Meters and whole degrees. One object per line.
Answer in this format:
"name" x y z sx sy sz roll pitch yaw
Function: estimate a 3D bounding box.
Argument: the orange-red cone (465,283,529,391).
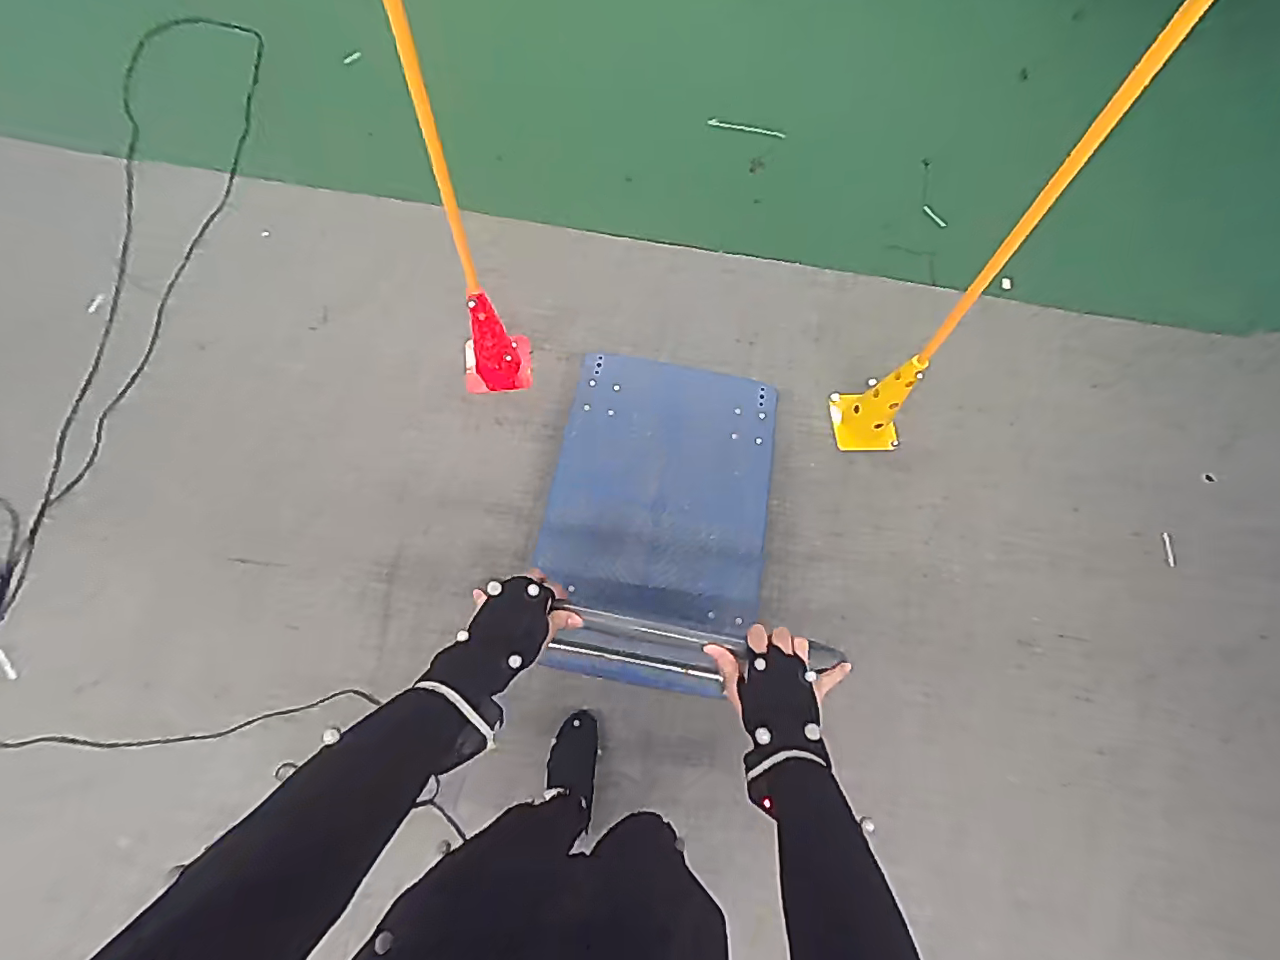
"orange-red cone" -0.446 -0.433 1.565 0.199 0.360 0.198 -5 70 -4
